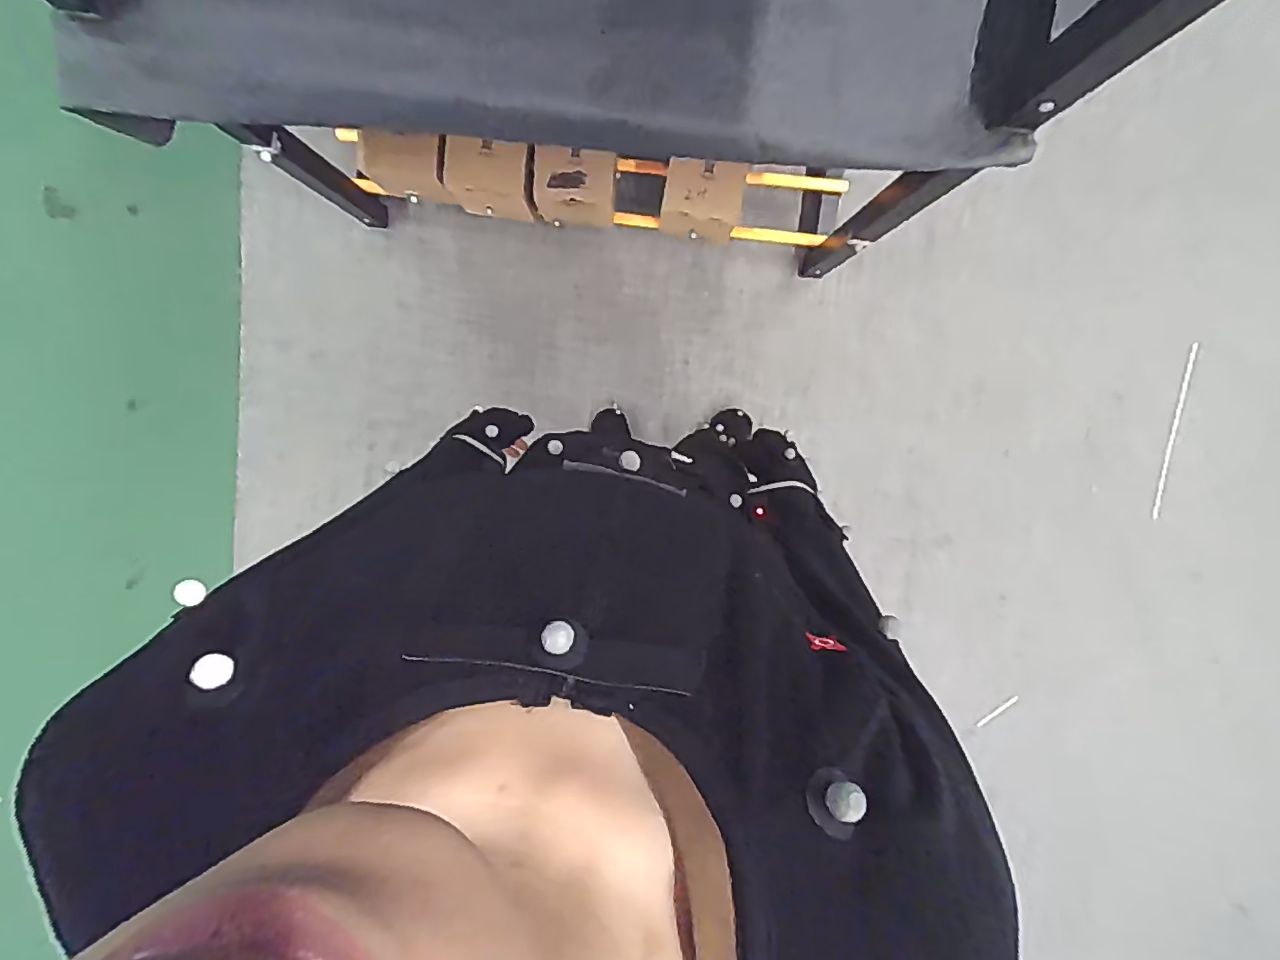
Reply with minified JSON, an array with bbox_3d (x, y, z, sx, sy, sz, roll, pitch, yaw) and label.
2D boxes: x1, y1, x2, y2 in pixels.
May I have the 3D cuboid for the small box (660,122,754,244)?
[{"bbox_3d":[0.140,-0.653,1.208,0.168,0.176,0.179,11,100,-1],"label":"small box"}]
